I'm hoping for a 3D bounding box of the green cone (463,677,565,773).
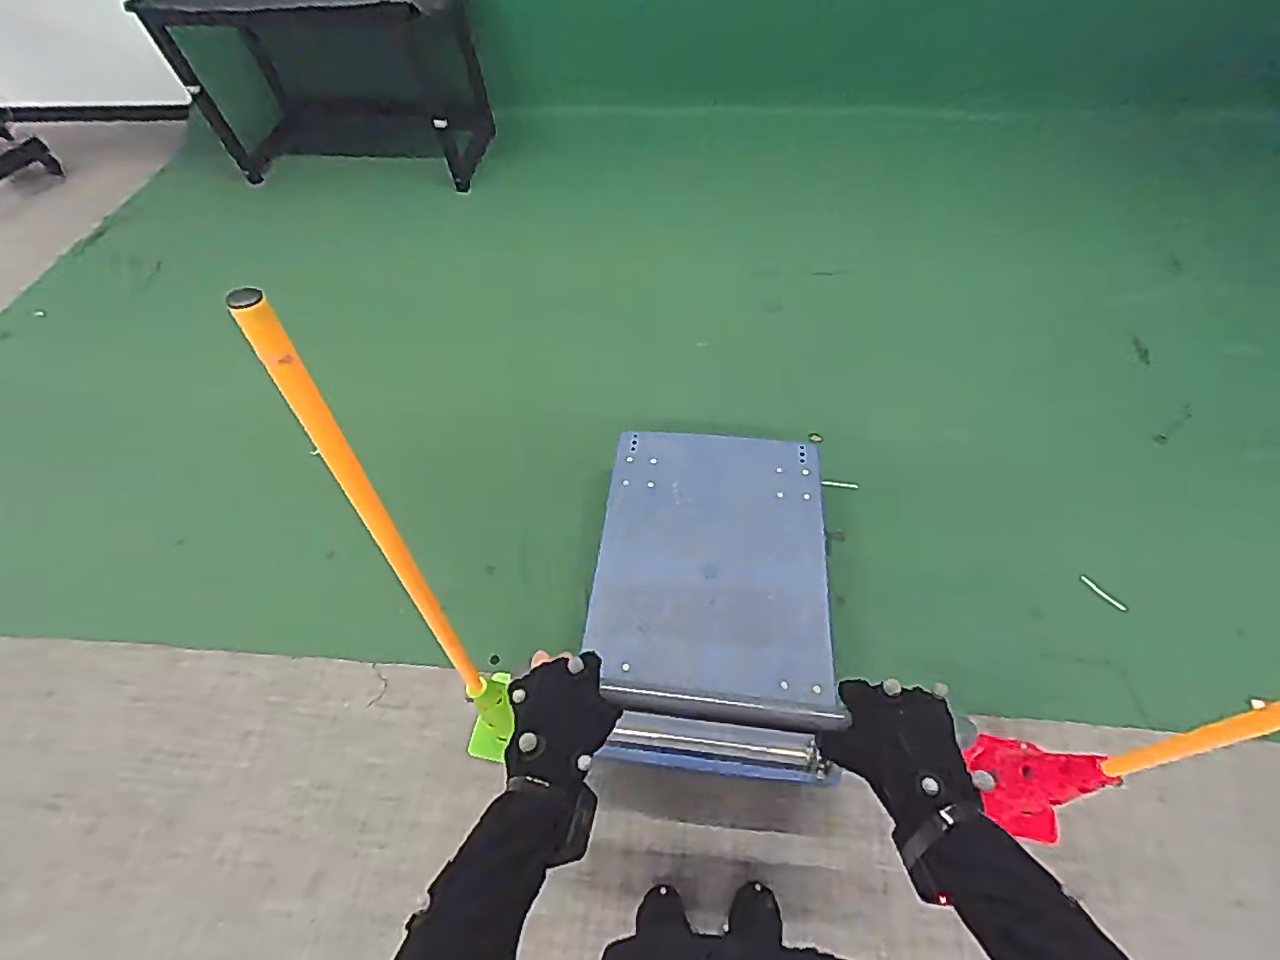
[{"bbox_3d":[-0.311,0.509,1.207,0.202,0.368,0.200,7,56,9],"label":"green cone"}]
